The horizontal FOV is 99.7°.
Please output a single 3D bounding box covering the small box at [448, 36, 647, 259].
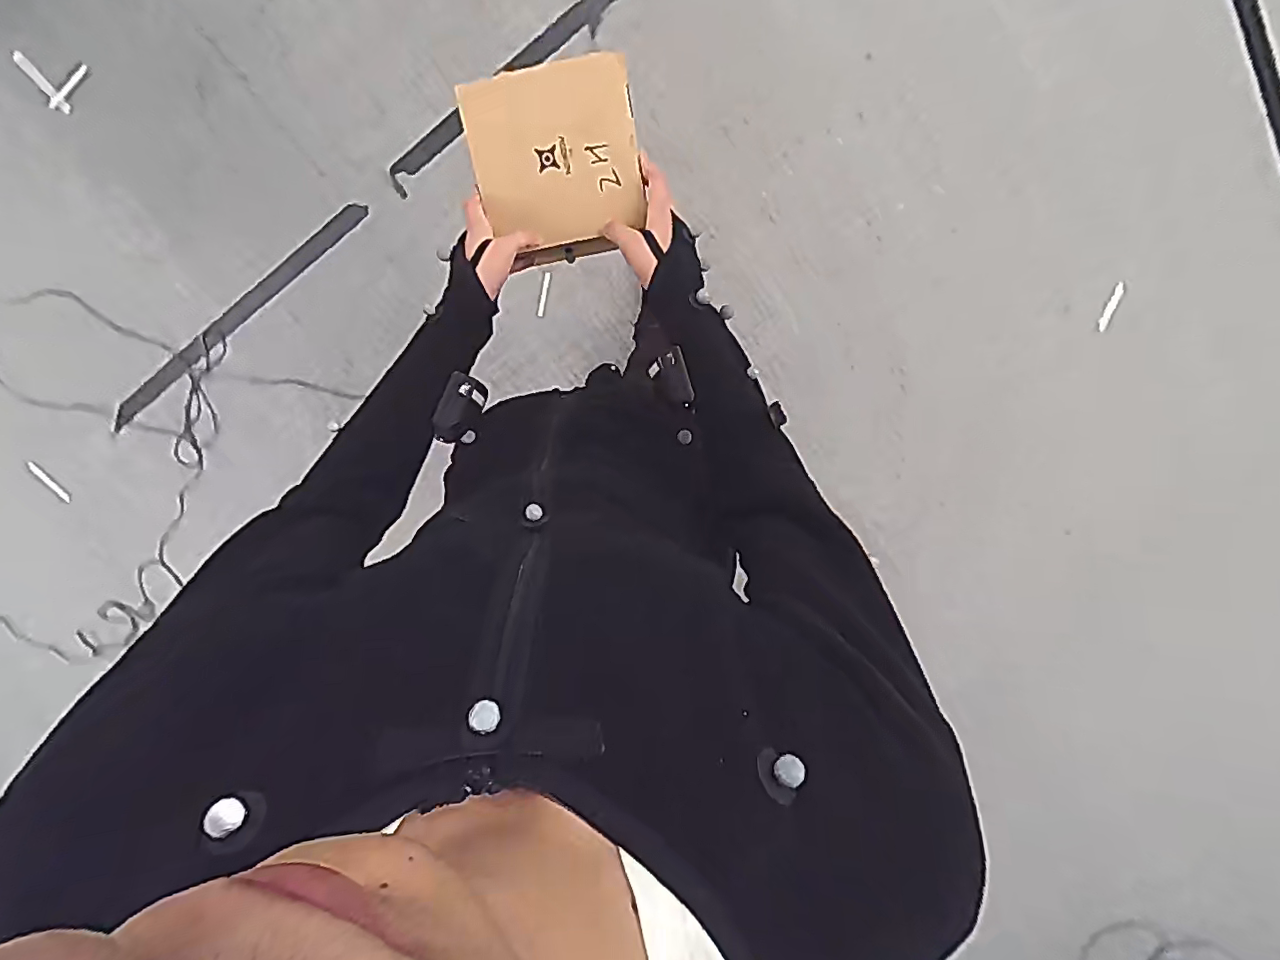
[{"bbox_3d":[-0.089,-0.360,0.623,0.179,0.176,0.168,-11,109,4],"label":"small box"}]
